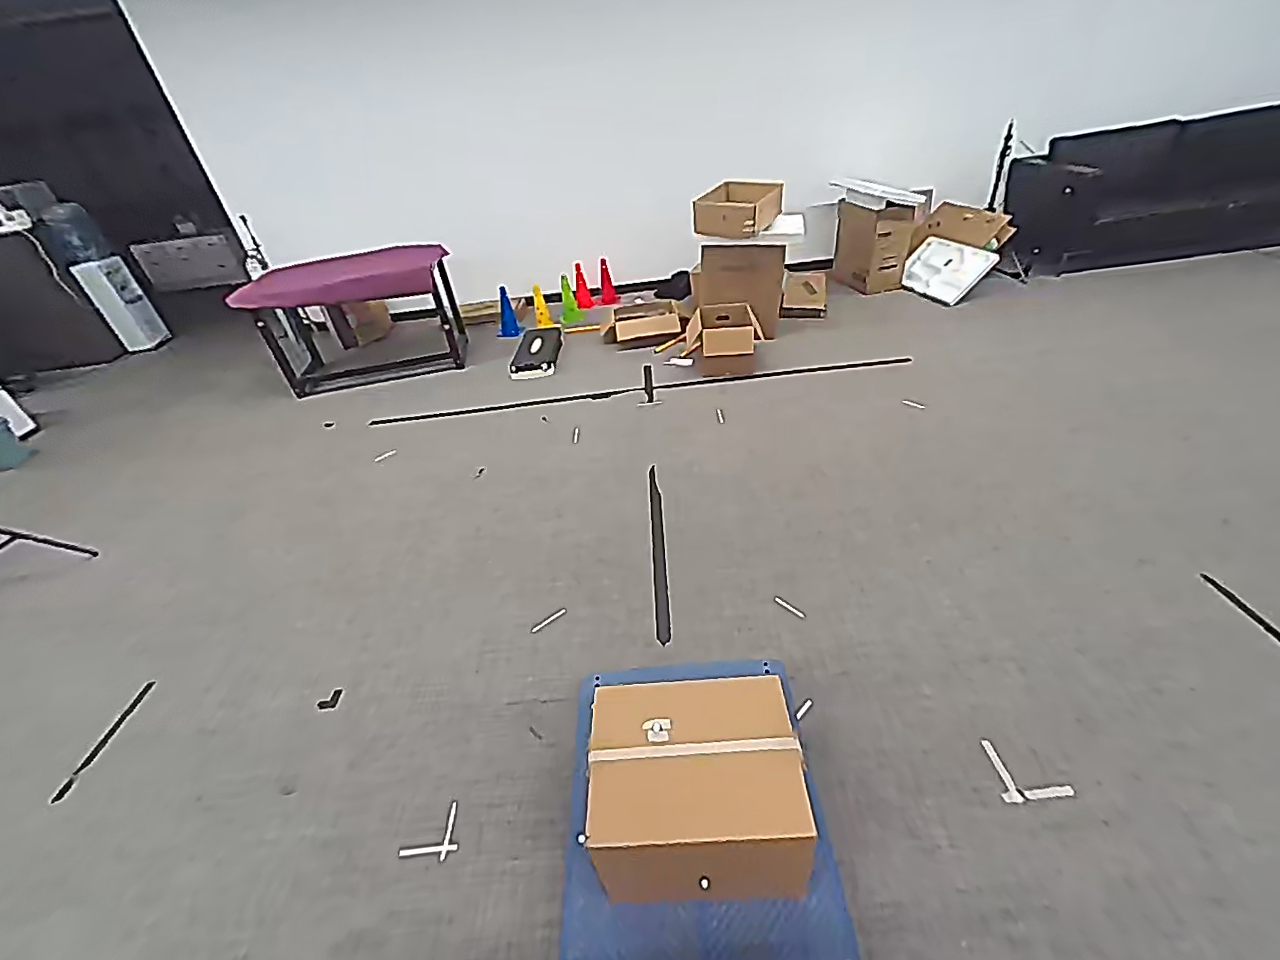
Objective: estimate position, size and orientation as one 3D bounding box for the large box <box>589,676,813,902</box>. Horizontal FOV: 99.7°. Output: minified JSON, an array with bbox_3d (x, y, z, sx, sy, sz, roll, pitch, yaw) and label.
[{"bbox_3d":[0.122,0.659,1.155,0.408,0.320,0.320,-7,35,4],"label":"large box"}]
